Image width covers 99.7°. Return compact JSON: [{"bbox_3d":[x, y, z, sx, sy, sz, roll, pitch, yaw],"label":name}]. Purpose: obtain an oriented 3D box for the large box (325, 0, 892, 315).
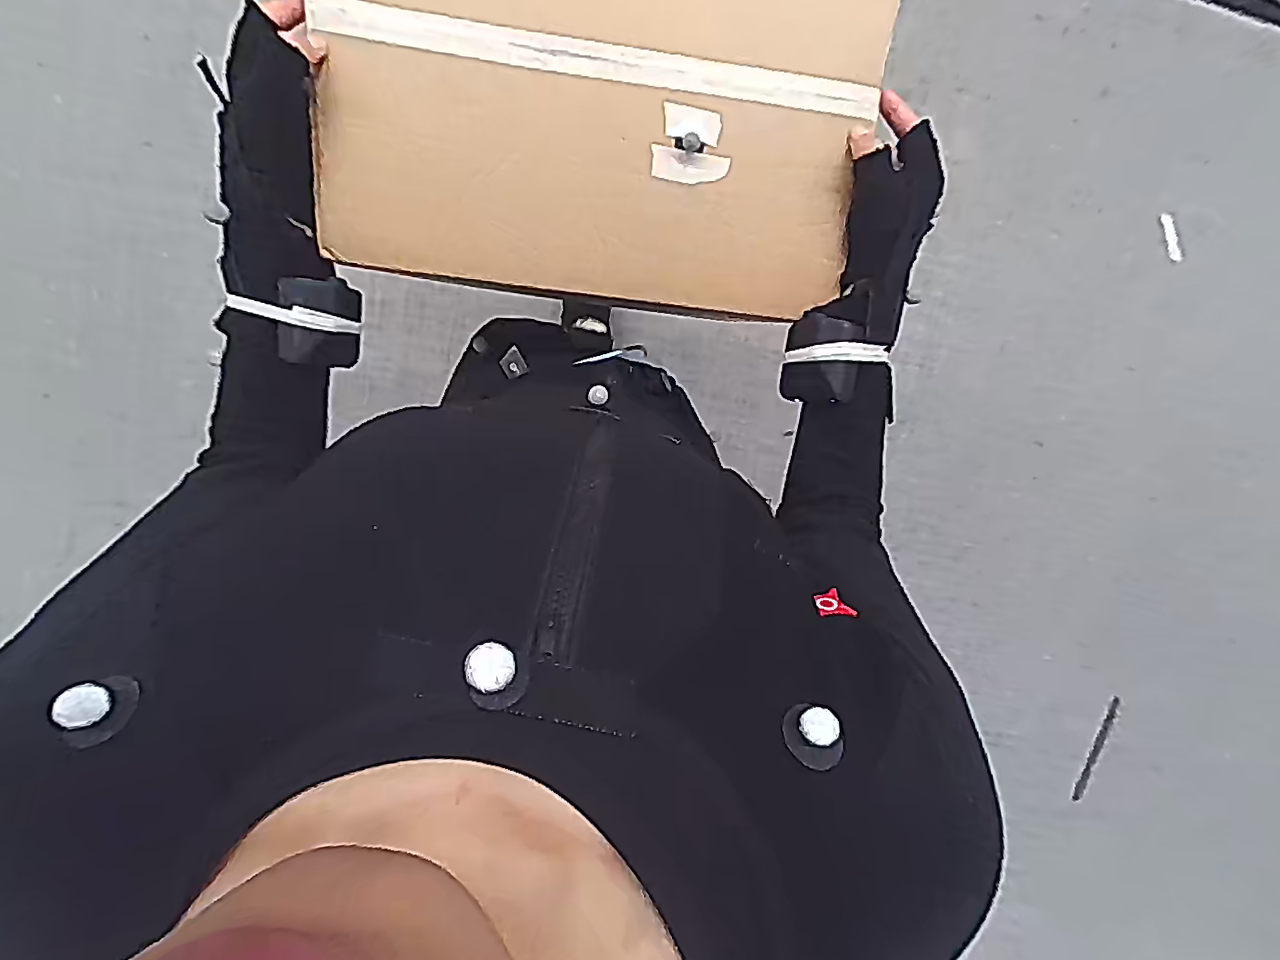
[{"bbox_3d":[-0.034,-0.344,0.534,0.408,0.320,0.320,6,107,-7],"label":"large box"}]
